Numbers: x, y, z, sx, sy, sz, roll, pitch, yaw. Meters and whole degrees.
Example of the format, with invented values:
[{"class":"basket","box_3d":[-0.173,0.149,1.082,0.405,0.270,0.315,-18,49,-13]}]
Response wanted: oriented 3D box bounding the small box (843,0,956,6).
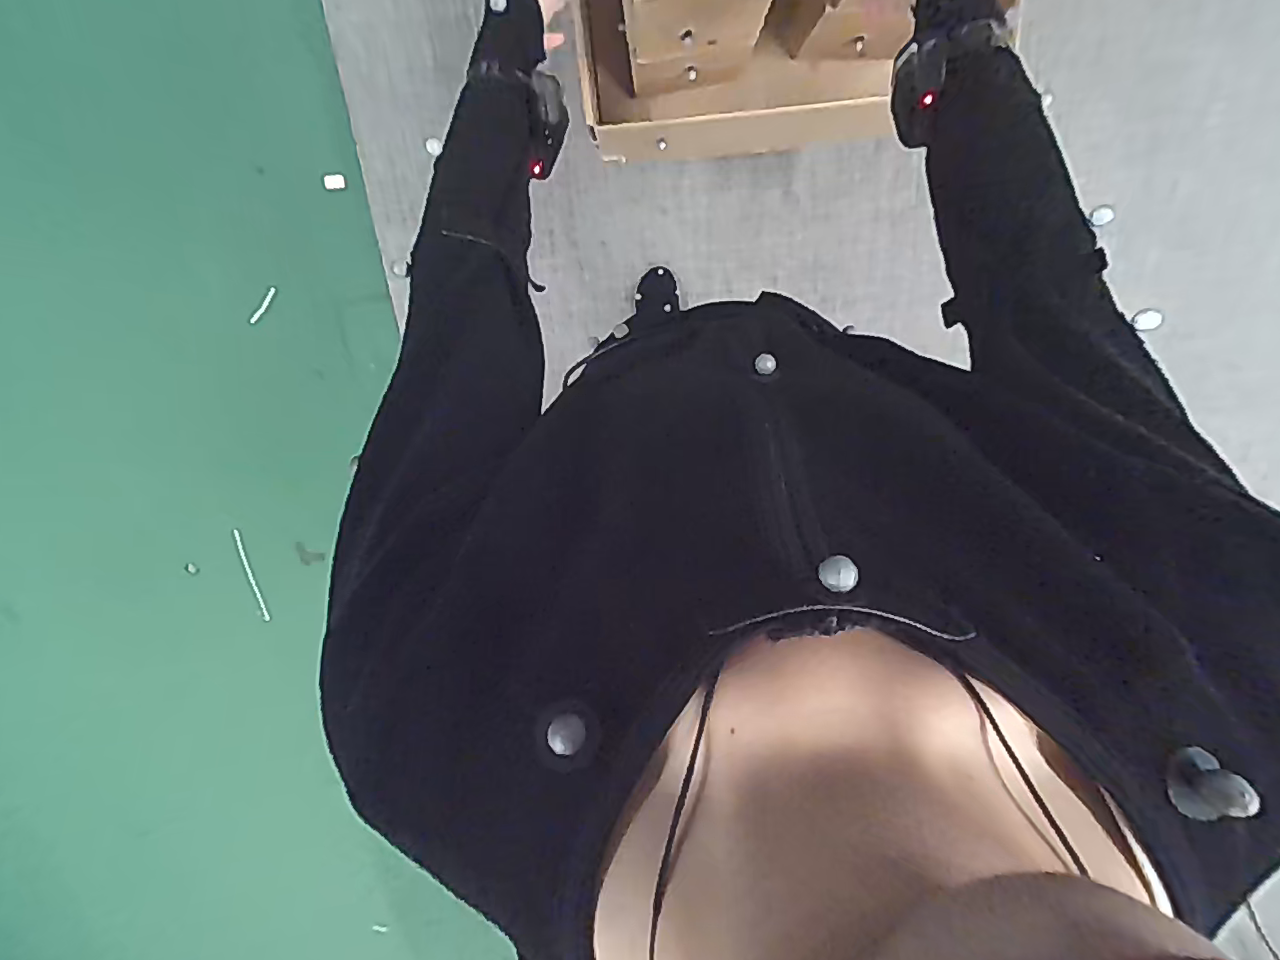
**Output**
[{"class":"small box","box_3d":[0.341,-0.674,0.608,0.179,0.176,0.168,-2,108,2]}]
